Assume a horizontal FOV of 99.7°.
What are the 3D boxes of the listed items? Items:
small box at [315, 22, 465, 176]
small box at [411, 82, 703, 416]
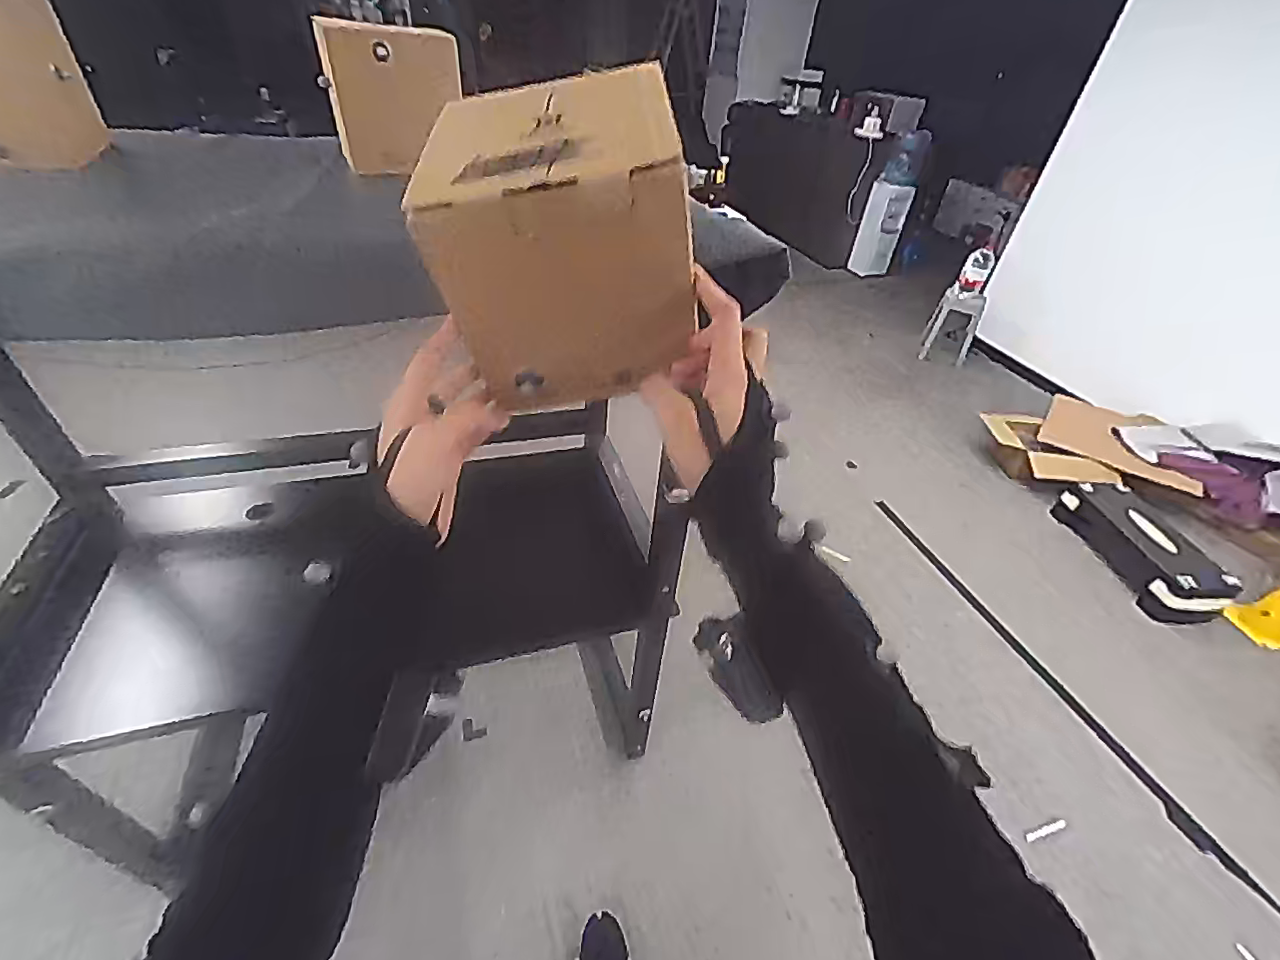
[{"bbox_3d":[-0.364,-0.561,0.803,0.168,0.176,0.179,-16,44,-24],"label":"small box"},{"bbox_3d":[-0.045,-0.164,0.415,0.168,0.176,0.179,-8,52,4],"label":"small box"}]
